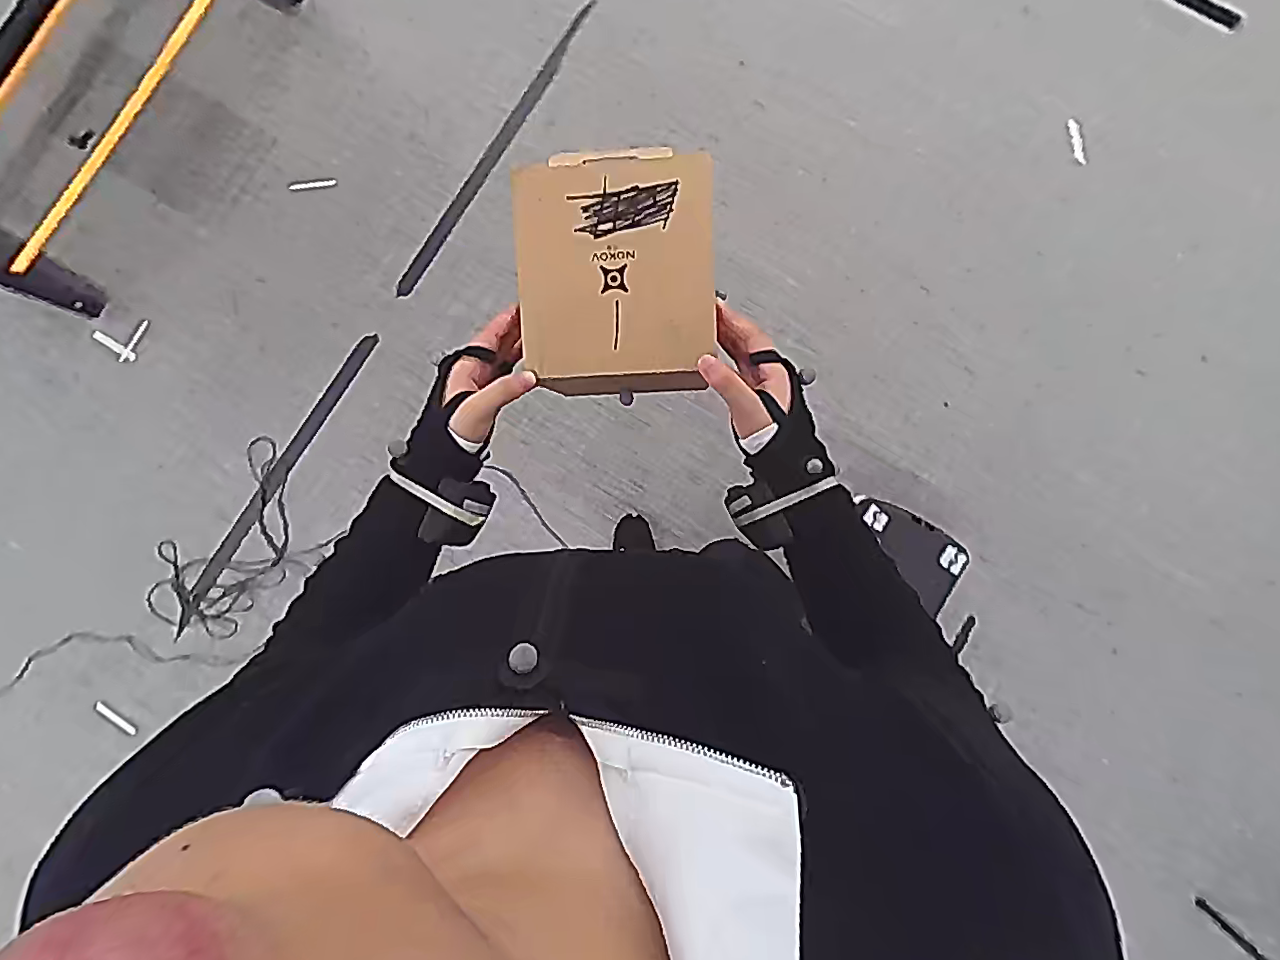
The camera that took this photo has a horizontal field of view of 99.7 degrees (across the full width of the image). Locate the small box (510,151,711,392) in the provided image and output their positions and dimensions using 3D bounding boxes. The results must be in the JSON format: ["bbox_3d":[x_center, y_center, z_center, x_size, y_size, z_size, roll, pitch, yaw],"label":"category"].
[{"bbox_3d":[-0.020,-0.186,0.533,0.168,0.176,0.179,-3,94,5],"label":"small box"}]
